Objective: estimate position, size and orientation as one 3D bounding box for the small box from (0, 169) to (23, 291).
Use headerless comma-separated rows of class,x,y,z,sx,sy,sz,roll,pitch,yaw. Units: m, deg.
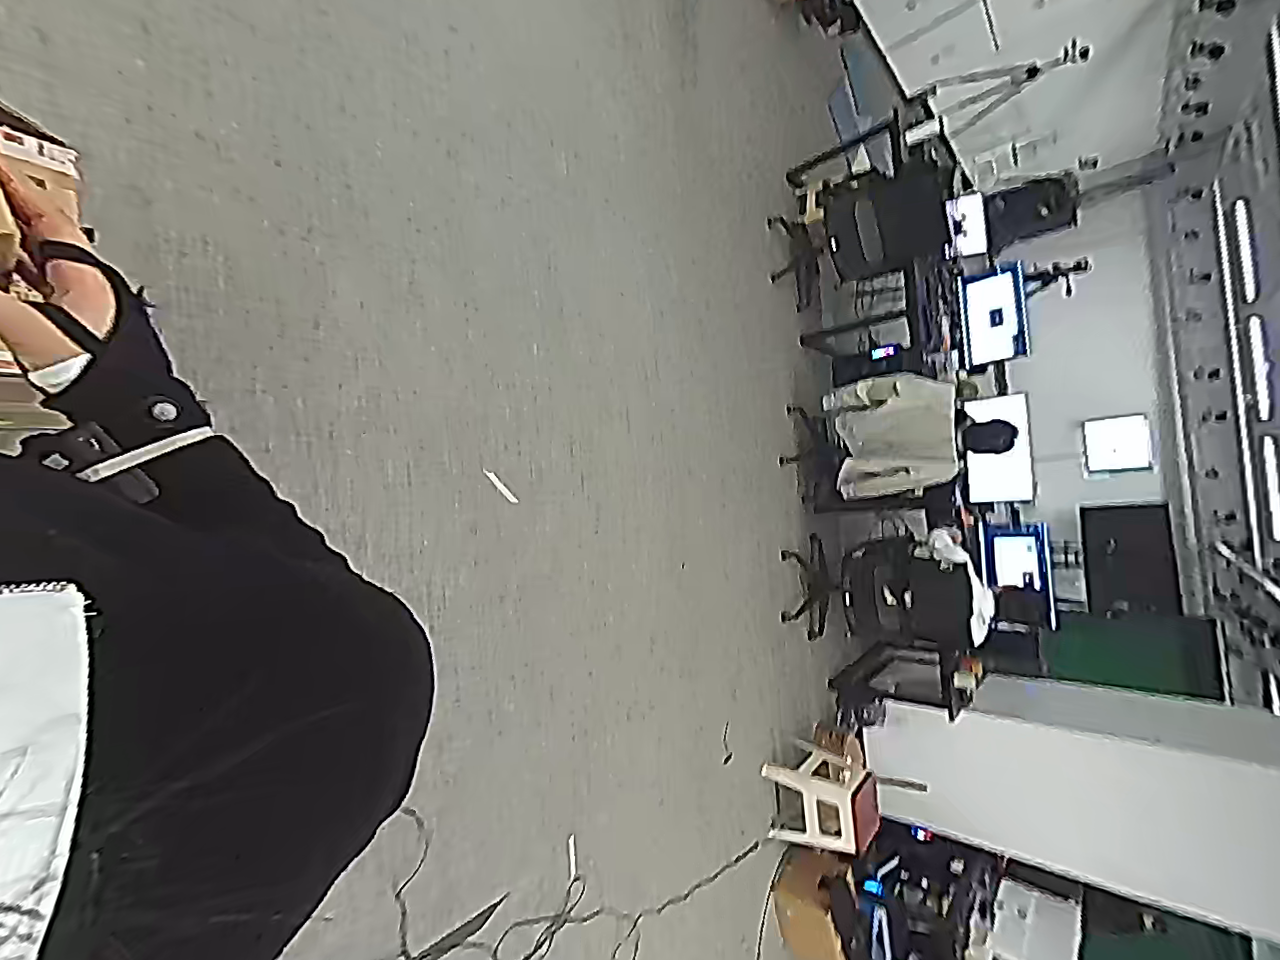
small box,-0.458,-0.189,0.261,0.168,0.176,0.179,-25,107,-50
